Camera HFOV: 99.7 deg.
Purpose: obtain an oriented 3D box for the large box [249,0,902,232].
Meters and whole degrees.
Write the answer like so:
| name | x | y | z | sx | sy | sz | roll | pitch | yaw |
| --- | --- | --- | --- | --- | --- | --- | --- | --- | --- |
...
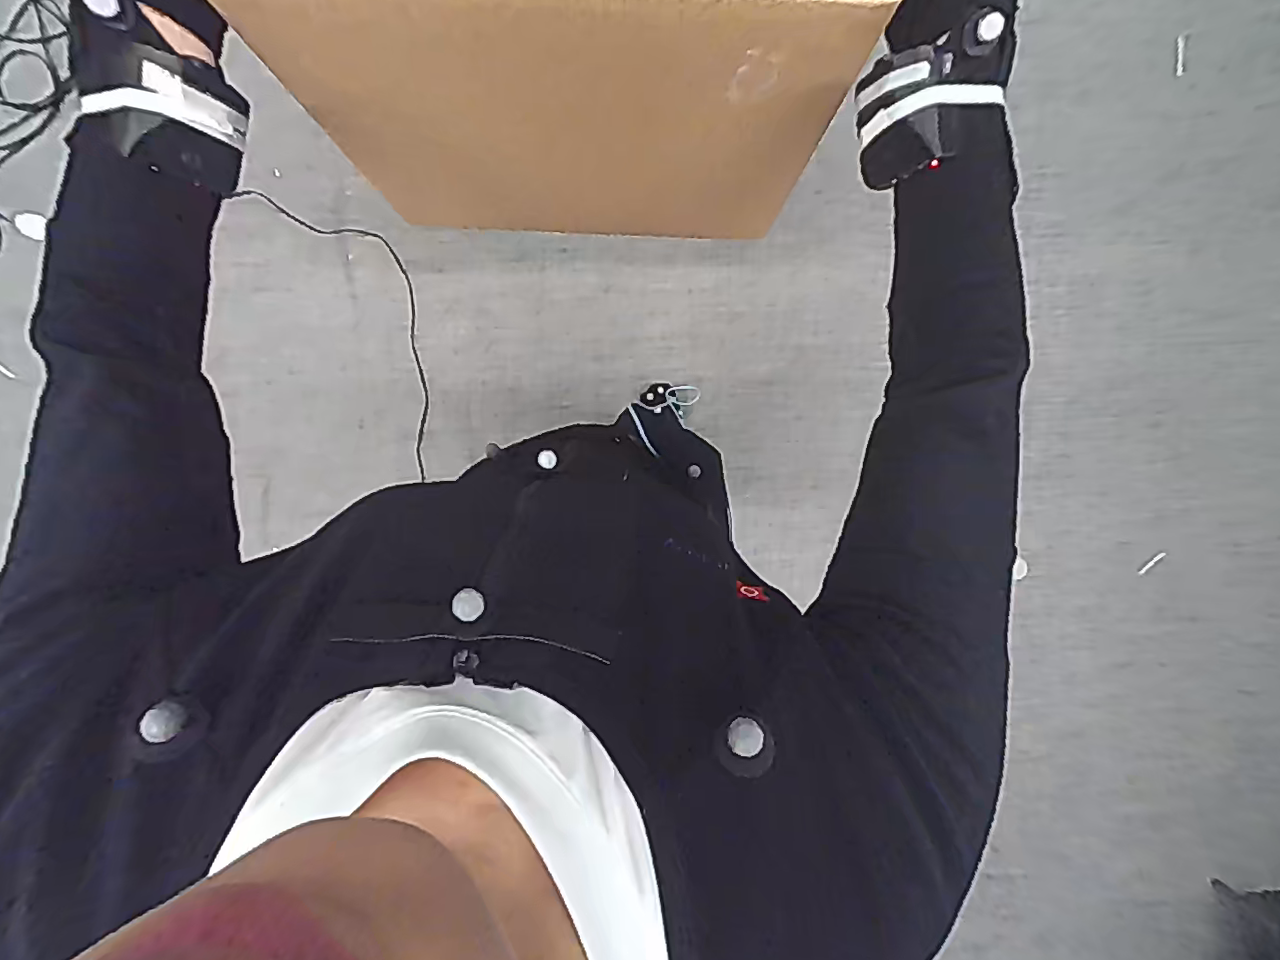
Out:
| name | x | y | z | sx | sy | sz | roll | pitch | yaw |
| --- | --- | --- | --- | --- | --- | --- | --- | --- | --- |
| large box | -0.046 | -0.433 | 0.462 | 0.408 | 0.320 | 0.320 | 1 | 91 | -3 |
